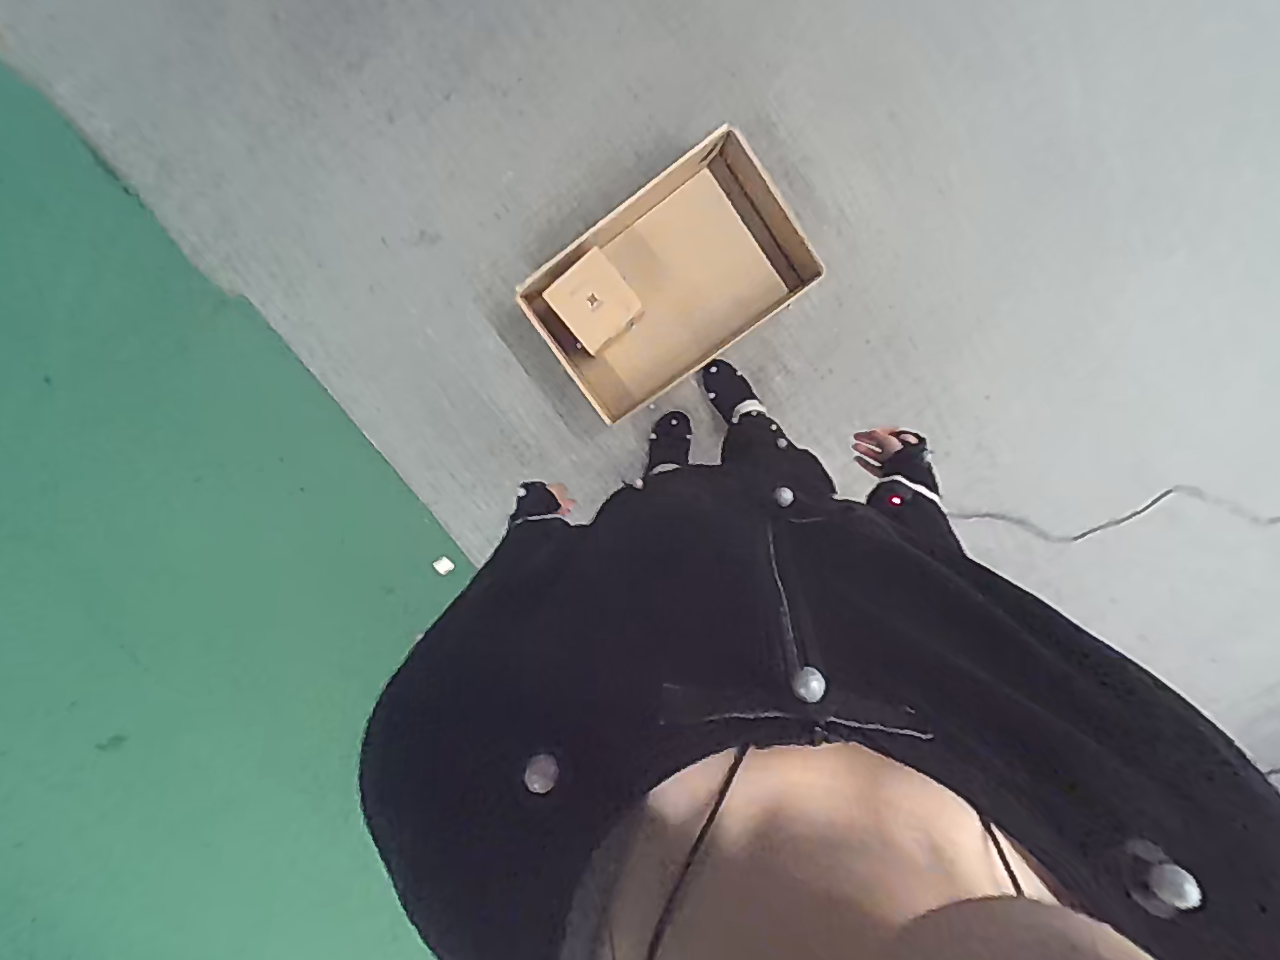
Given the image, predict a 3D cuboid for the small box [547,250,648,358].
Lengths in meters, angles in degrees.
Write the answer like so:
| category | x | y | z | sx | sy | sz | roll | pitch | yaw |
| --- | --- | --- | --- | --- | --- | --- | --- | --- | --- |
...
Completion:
| category | x | y | z | sx | sy | sz | roll | pitch | yaw |
| --- | --- | --- | --- | --- | --- | --- | --- | --- | --- |
| small box | -0.093 | -0.411 | 1.292 | 0.168 | 0.176 | 0.179 | -39 | 97 | 7 |
